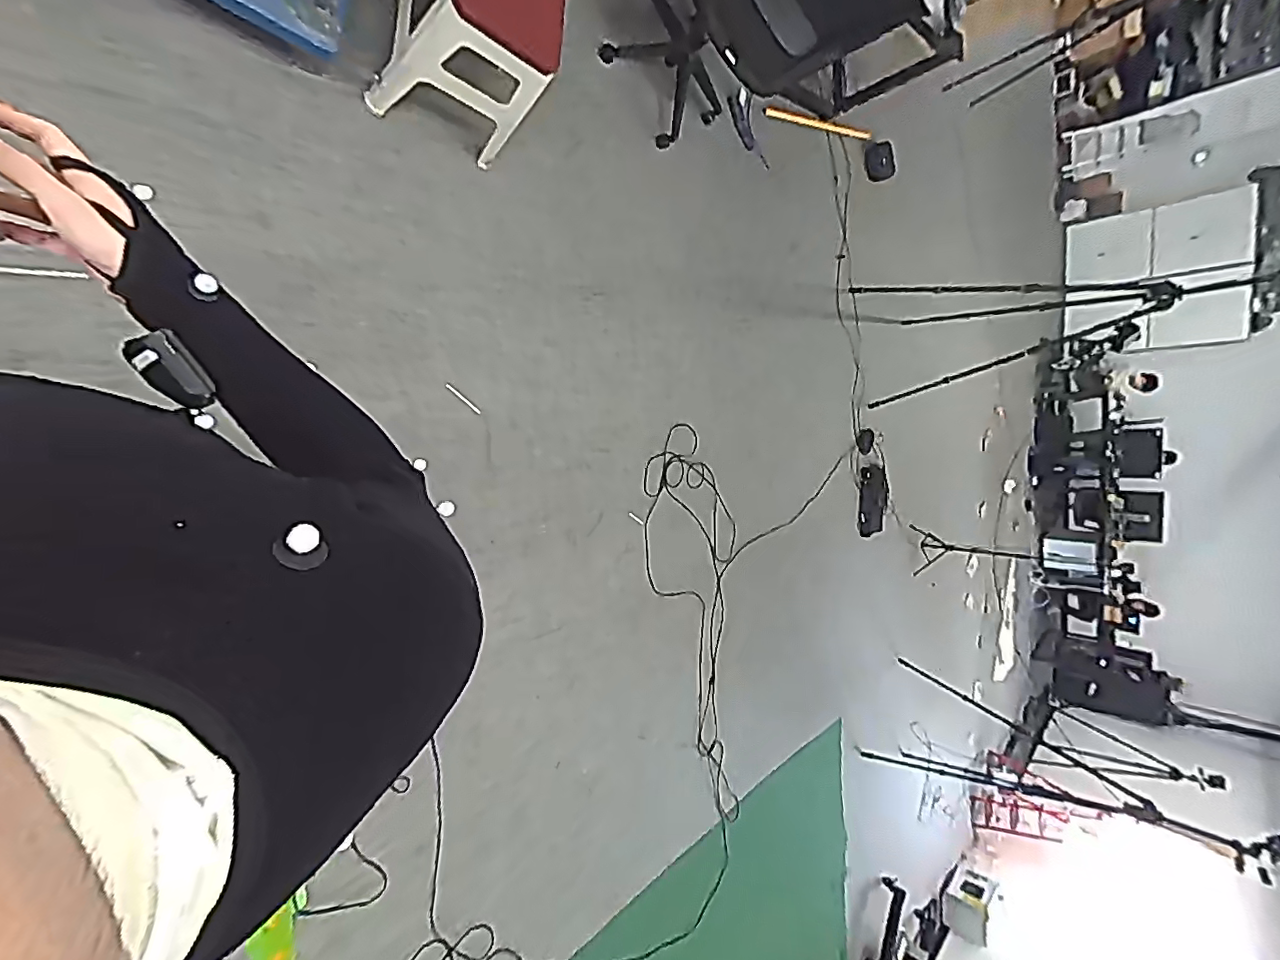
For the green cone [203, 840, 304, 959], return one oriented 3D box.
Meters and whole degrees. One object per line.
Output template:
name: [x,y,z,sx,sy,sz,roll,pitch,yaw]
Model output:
green cone: [-0.892,1.096,1.301,0.202,0.368,0.200,-13,102,-43]
